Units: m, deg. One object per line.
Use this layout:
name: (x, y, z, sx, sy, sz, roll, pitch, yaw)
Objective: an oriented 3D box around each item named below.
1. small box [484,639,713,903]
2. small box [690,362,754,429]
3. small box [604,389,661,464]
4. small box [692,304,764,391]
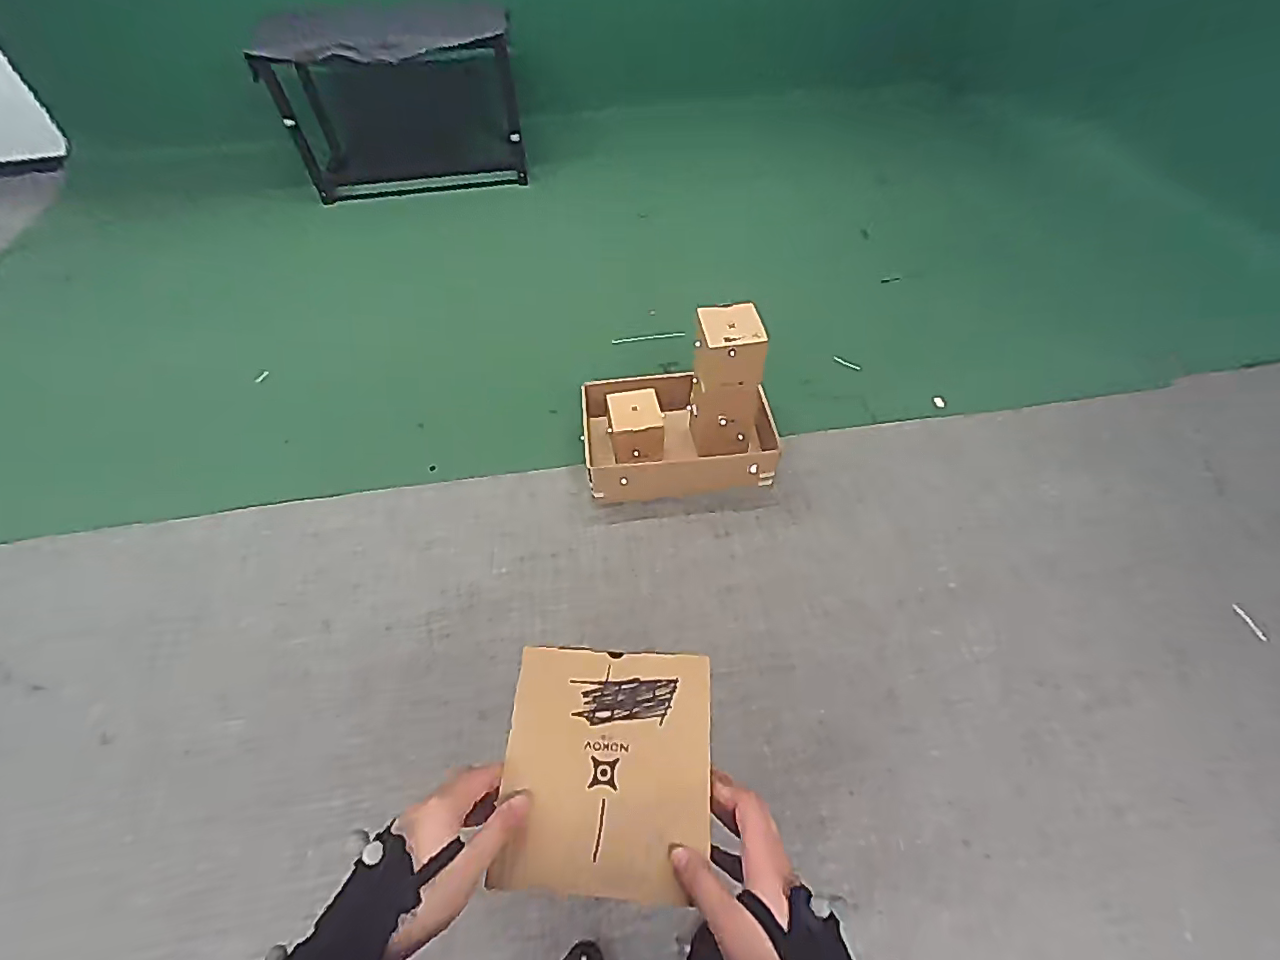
small box: (-0.022, 0.258, 0.492, 0.168, 0.176, 0.179, 1, 59, 5)
small box: (0.250, -0.282, 1.691, 0.168, 0.176, 0.179, -5, 54, -1)
small box: (-0.029, -0.179, 1.825, 0.168, 0.176, 0.179, -9, 54, -6)
small box: (0.245, -0.380, 1.559, 0.168, 0.176, 0.179, -8, 52, -3)
